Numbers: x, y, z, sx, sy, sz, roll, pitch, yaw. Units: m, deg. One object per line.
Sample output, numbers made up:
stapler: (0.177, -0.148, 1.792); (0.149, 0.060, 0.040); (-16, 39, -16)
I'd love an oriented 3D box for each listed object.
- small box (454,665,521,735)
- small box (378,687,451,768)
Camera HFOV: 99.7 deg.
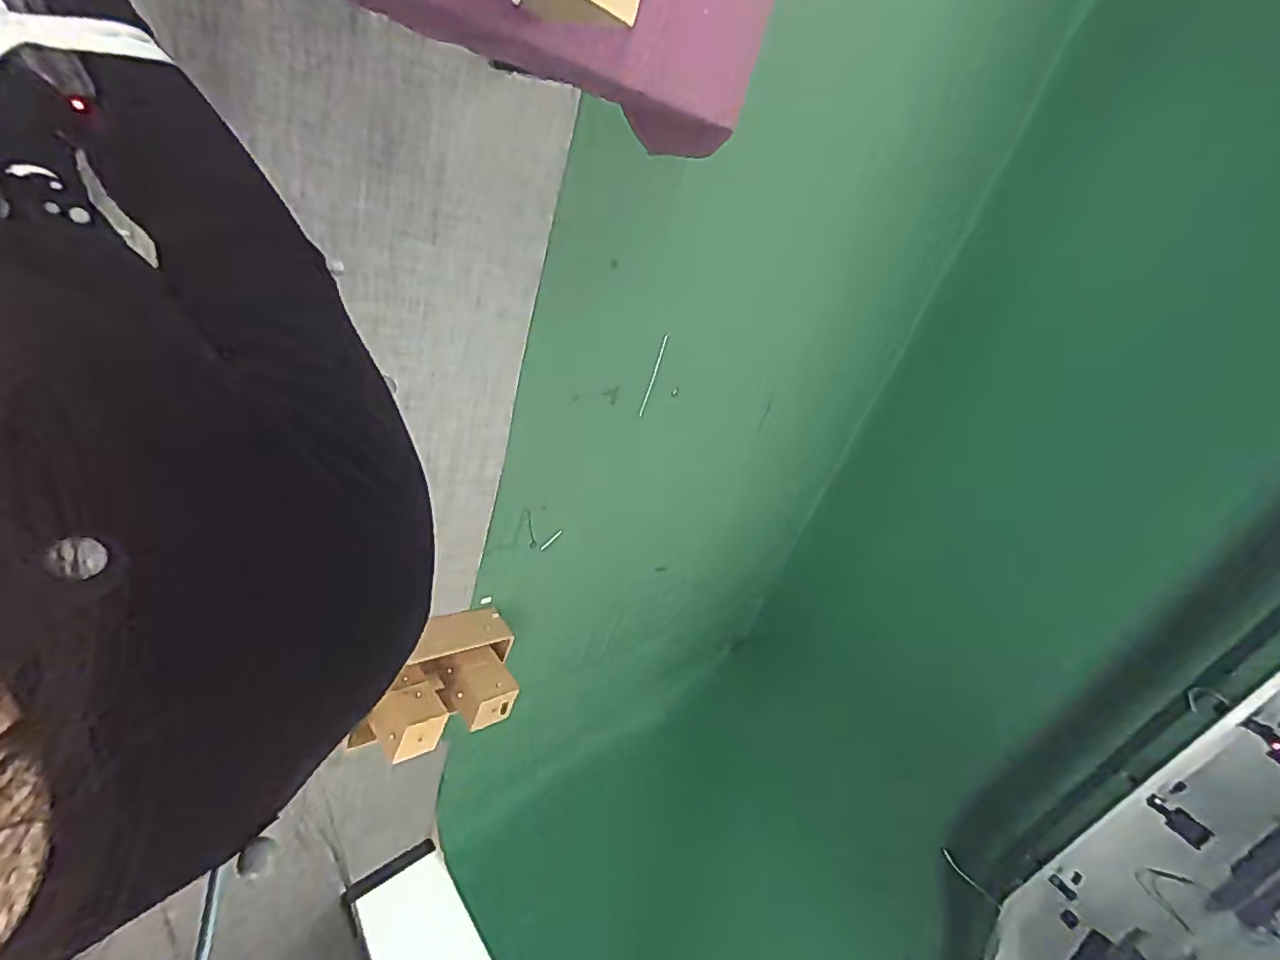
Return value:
small box: (-0.613, 0.872, 2.164); (0.179, 0.176, 0.168); (-1, 122, -48)
small box: (-0.816, 0.883, 1.942); (0.168, 0.176, 0.179); (5, 114, -52)
